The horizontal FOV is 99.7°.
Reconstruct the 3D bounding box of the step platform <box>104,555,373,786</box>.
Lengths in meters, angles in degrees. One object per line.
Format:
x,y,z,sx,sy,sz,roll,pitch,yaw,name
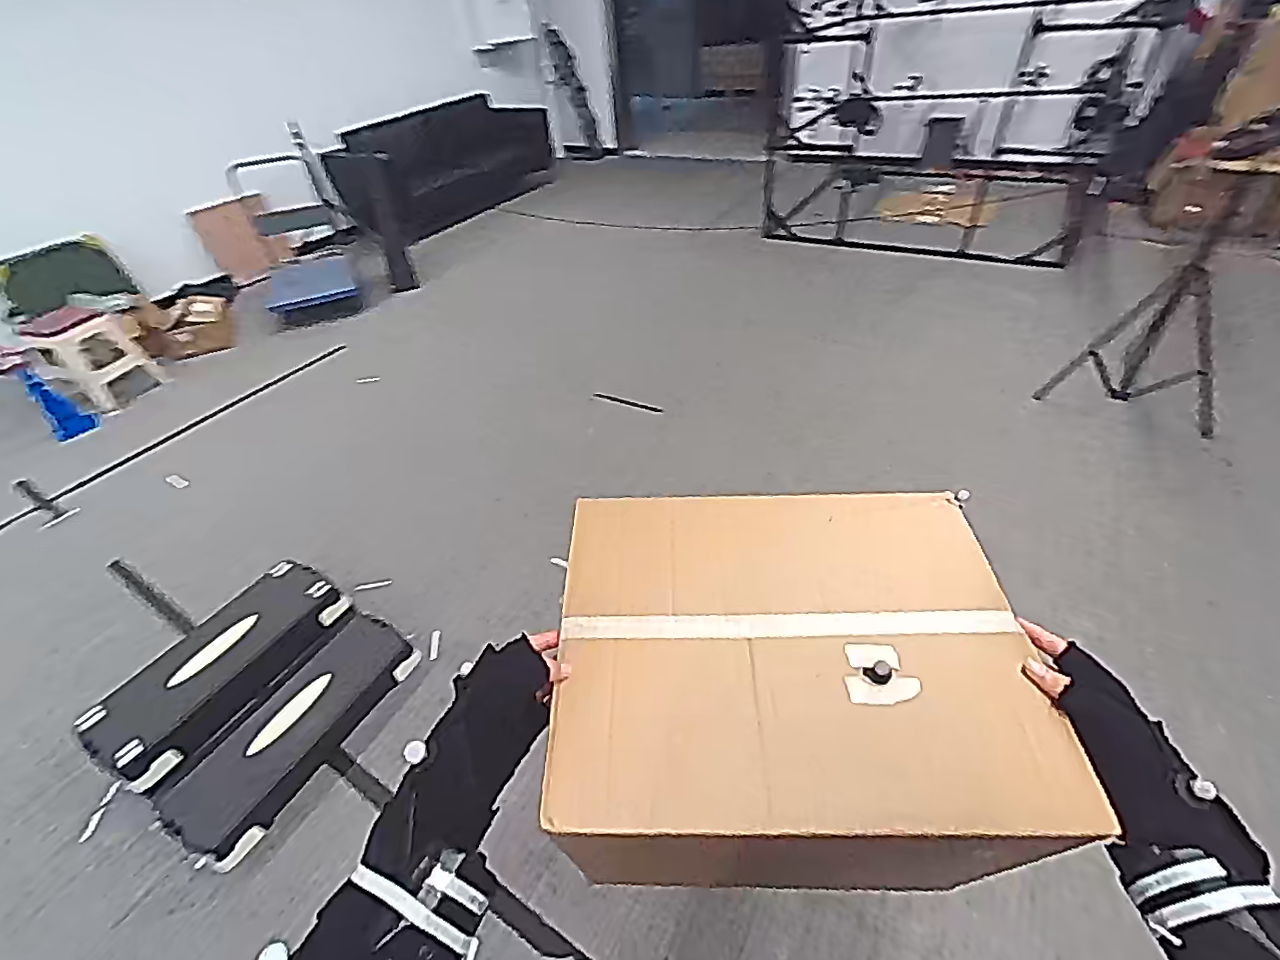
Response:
-1.202,0.547,1.677,0.286,0.204,0.684,17,46,24,step platform

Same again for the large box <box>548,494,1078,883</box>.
0.128,0.236,0.608,0.408,0.320,0.320,-2,48,1,large box
